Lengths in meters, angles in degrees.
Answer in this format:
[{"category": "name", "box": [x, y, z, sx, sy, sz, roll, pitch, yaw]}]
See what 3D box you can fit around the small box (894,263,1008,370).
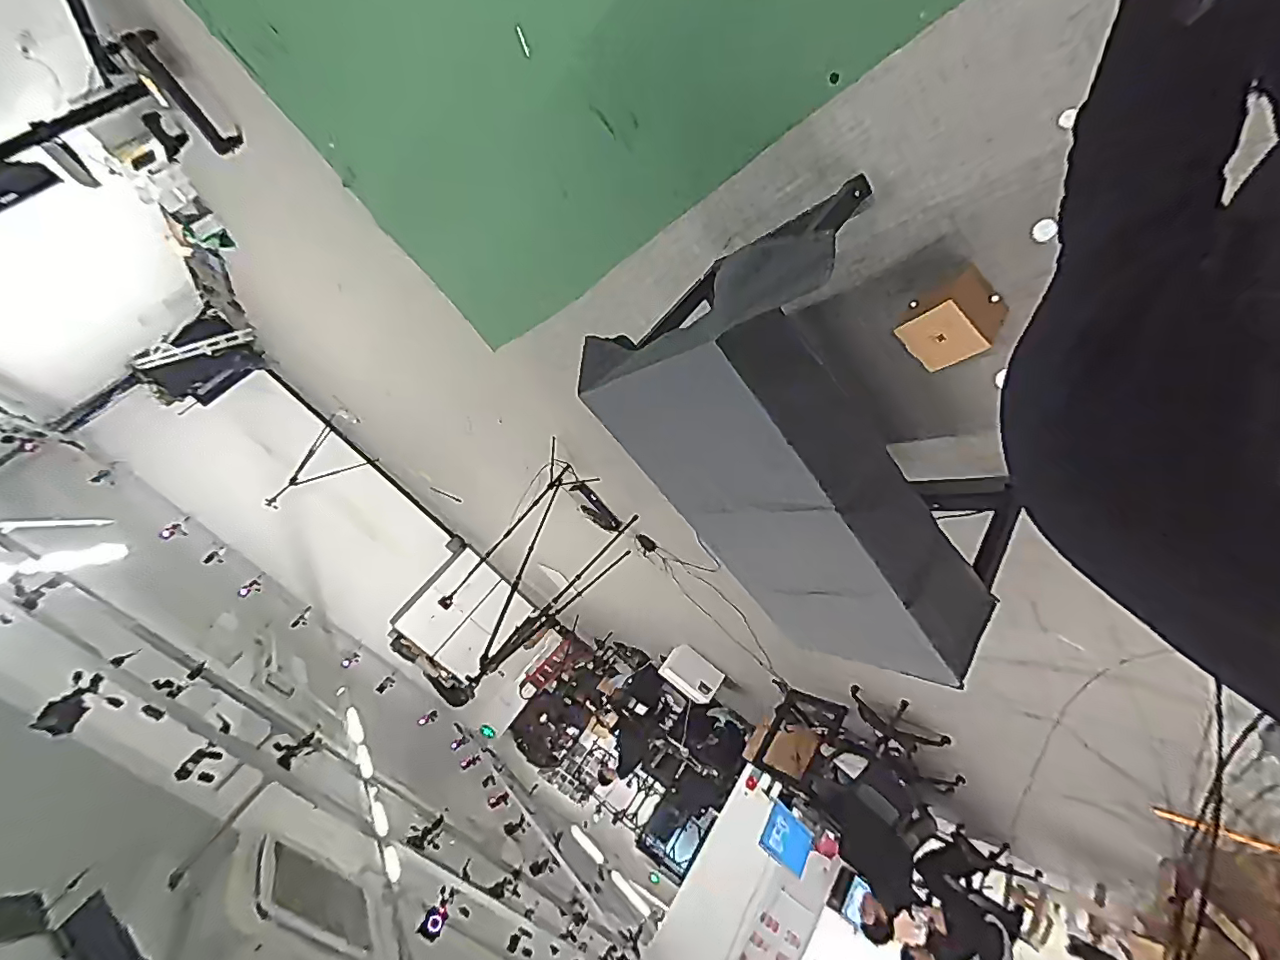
[{"category": "small box", "box": [0.823, -0.429, 1.429, 0.168, 0.176, 0.179, 43, 157, -10]}]
